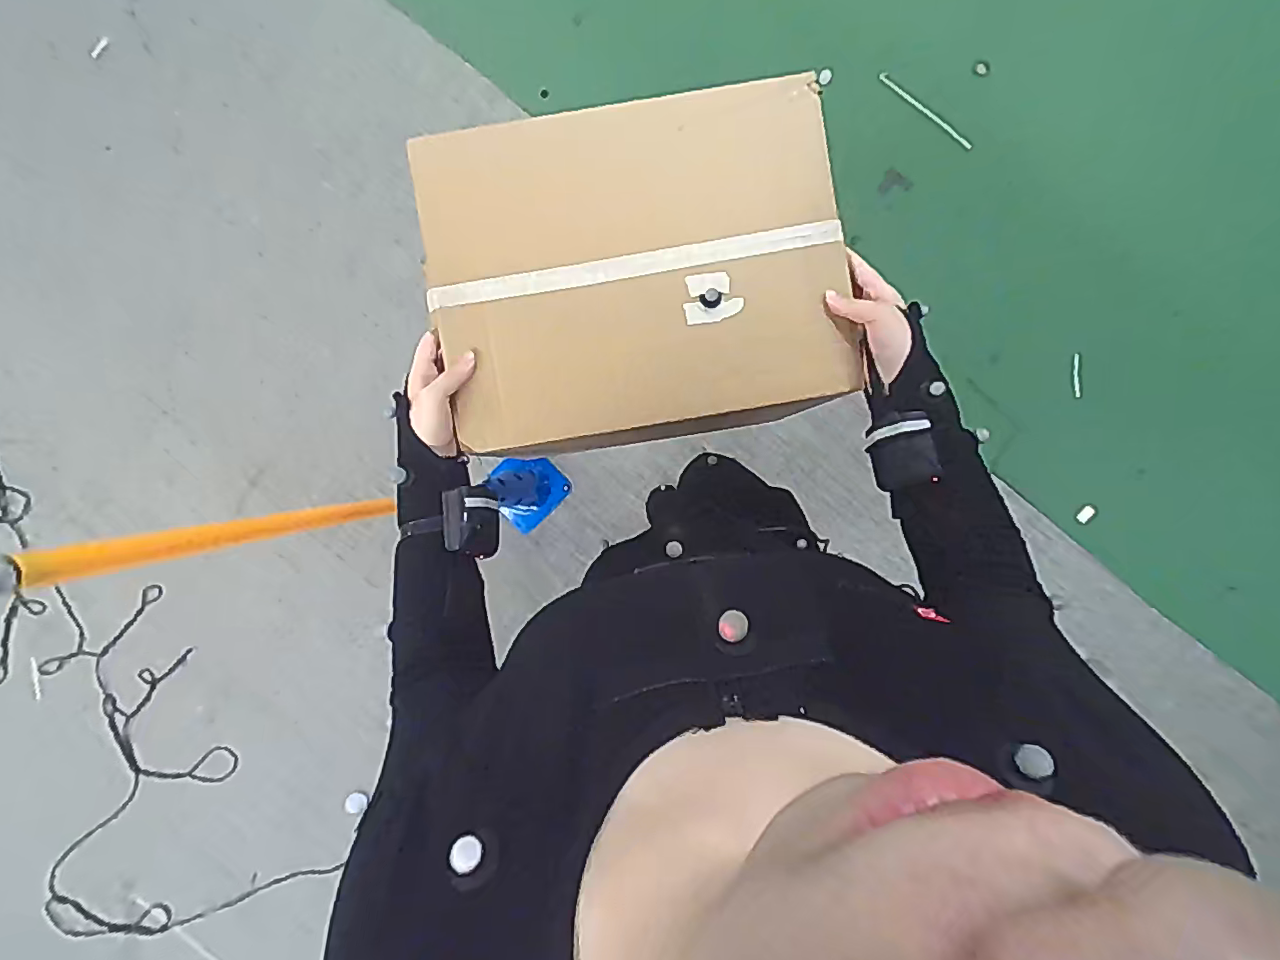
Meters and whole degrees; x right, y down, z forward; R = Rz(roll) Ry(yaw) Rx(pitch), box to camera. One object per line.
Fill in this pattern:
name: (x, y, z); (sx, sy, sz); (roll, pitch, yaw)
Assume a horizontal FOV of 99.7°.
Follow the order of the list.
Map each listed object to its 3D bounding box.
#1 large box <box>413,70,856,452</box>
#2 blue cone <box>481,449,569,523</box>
large box: (-0.007, -0.224, 0.682); (0.408, 0.320, 0.320); (-9, 92, -1)
blue cone: (-0.329, 0.008, 1.359); (0.192, 0.380, 0.193); (-43, 89, 2)
